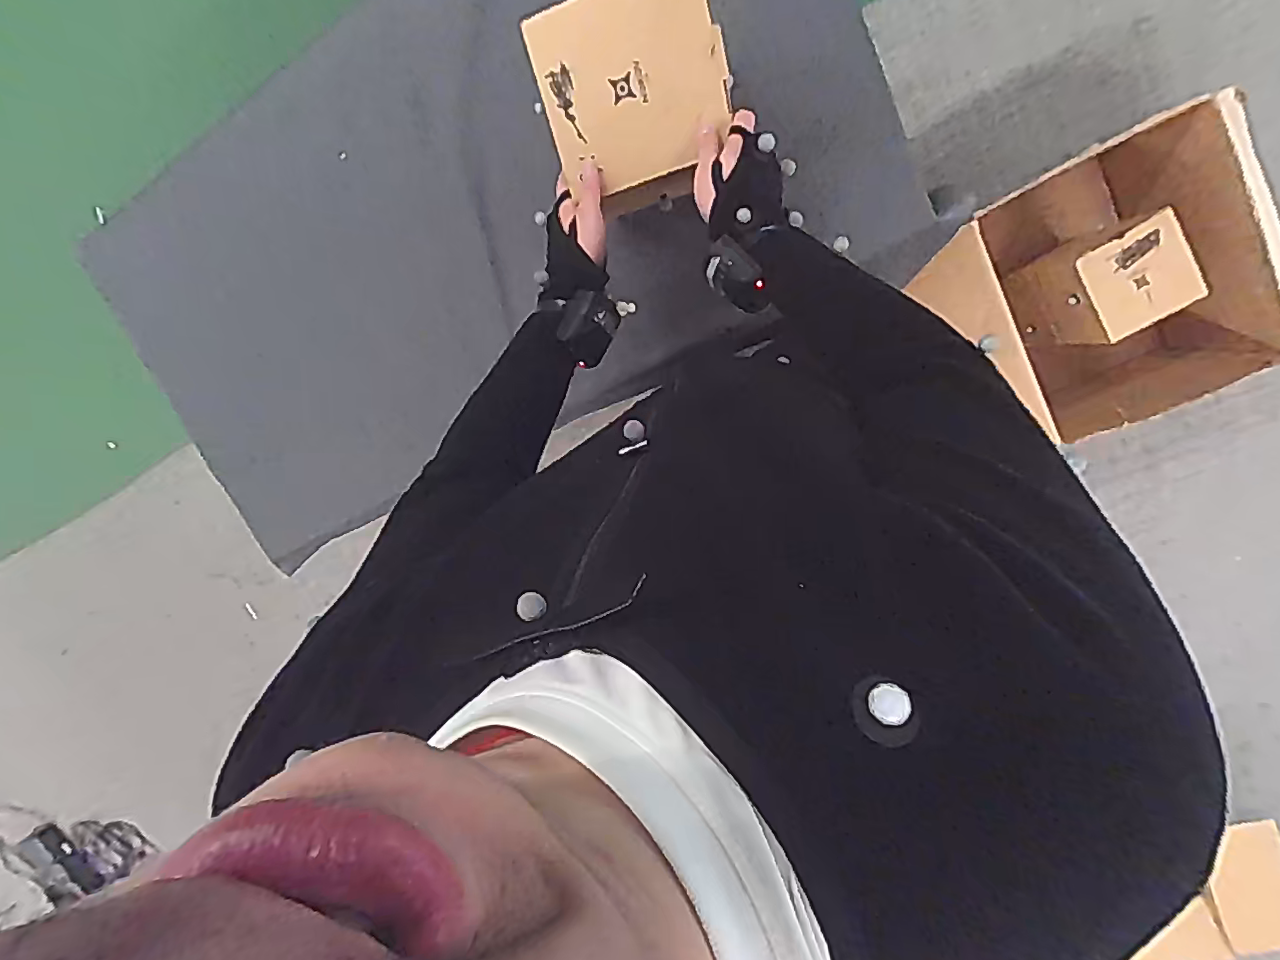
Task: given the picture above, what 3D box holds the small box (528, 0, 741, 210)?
[{"bbox_3d":[0.003,-0.417,0.601,0.179,0.176,0.168,-14,111,12],"label":"small box"}]
